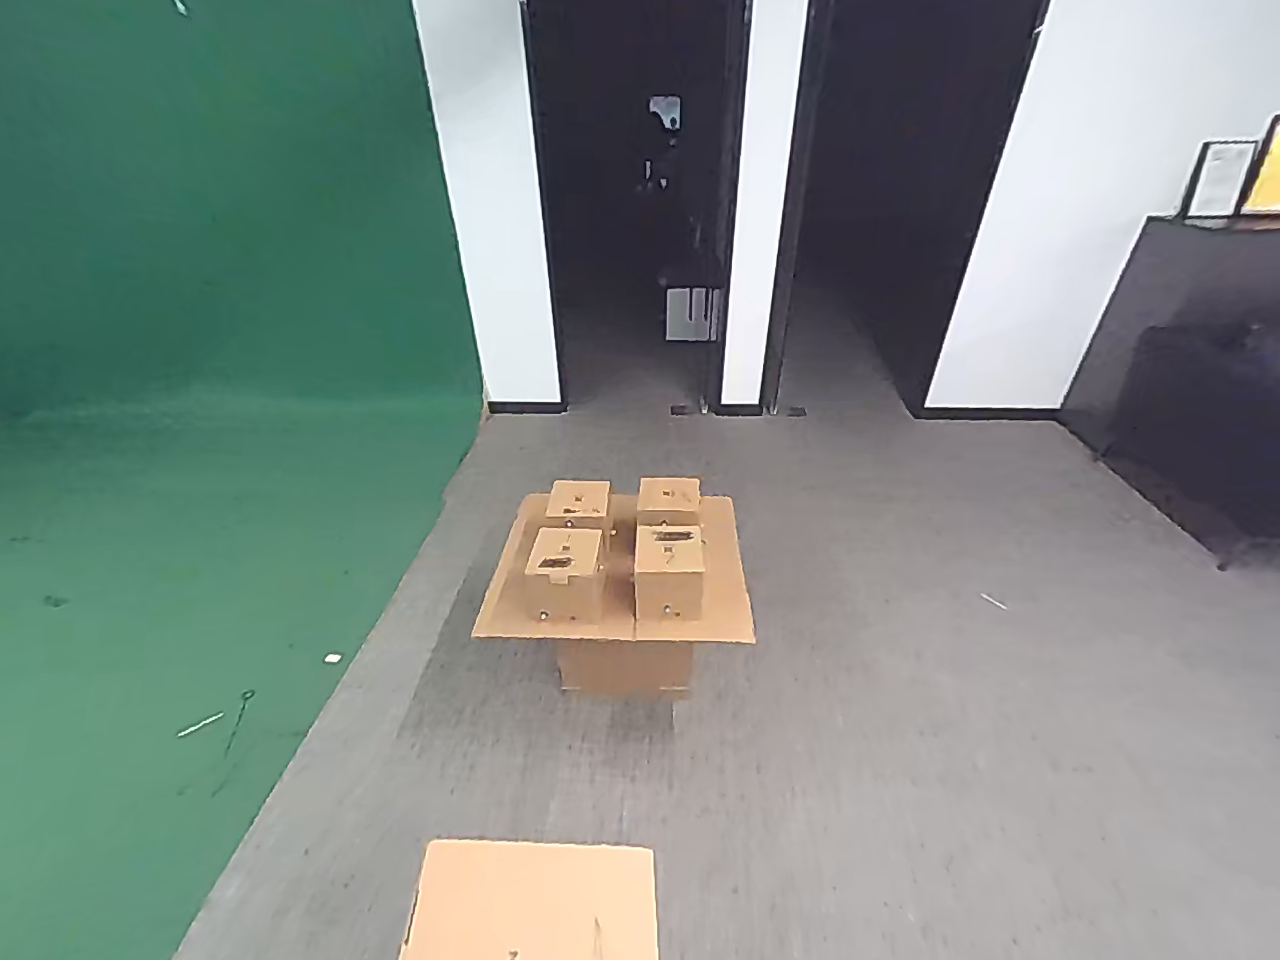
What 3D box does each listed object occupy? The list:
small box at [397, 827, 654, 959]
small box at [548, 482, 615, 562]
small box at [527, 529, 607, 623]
[{"bbox_3d":[-0.092,0.388,0.409,0.179,0.176,0.168,10,40,-10],"label":"small box"},{"bbox_3d":[-0.162,0.121,1.564,0.168,0.176,0.179,-1,32,3],"label":"small box"},{"bbox_3d":[-0.177,0.245,1.380,0.168,0.176,0.179,1,33,4],"label":"small box"}]
